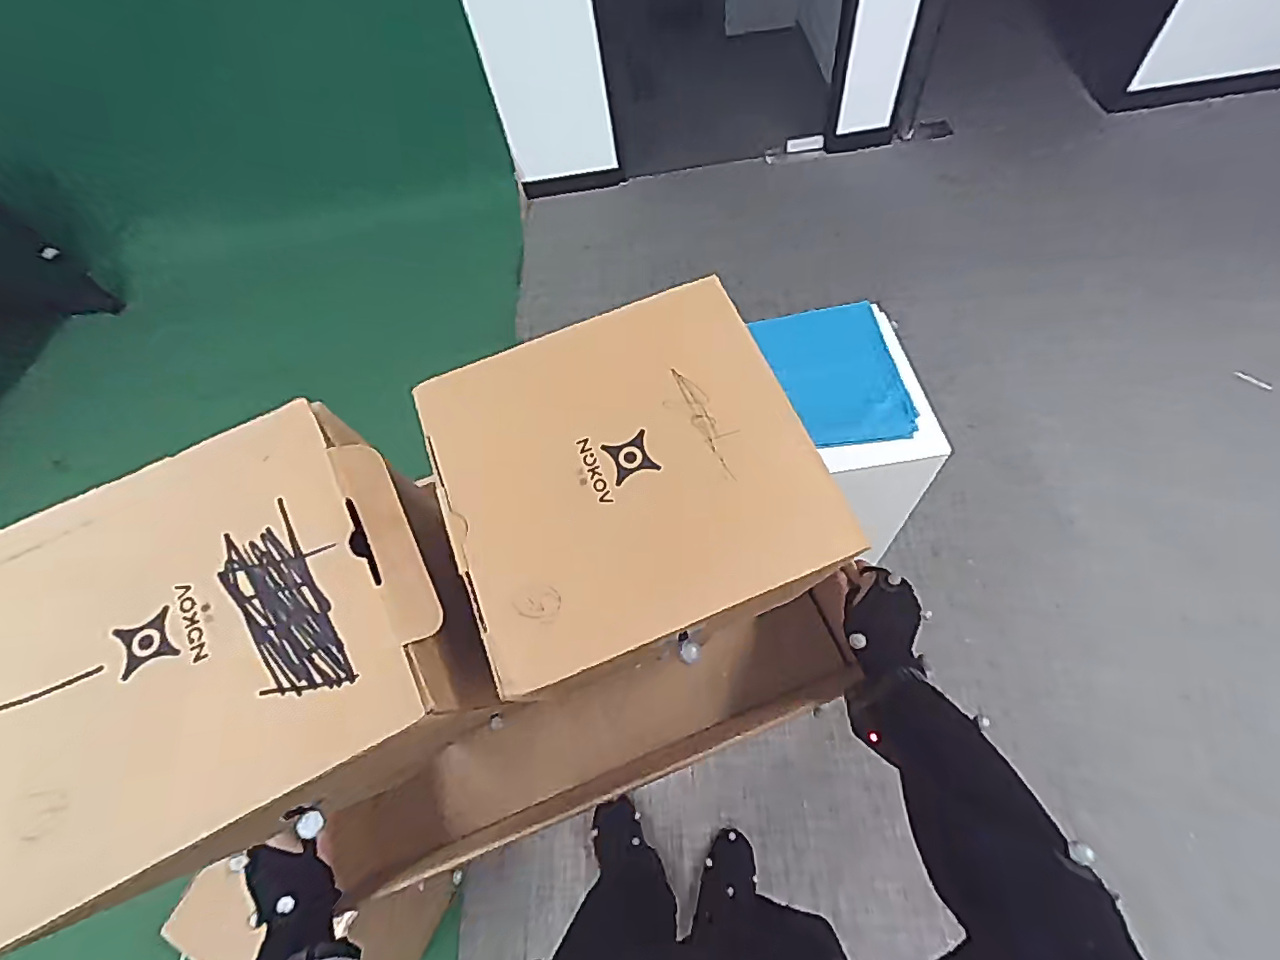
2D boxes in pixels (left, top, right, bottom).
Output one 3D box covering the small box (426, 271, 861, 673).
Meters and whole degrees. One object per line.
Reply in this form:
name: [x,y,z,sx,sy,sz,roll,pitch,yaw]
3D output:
small box: [-0.001,0.012,0.339,0.179,0.176,0.168,-21,70,-4]
